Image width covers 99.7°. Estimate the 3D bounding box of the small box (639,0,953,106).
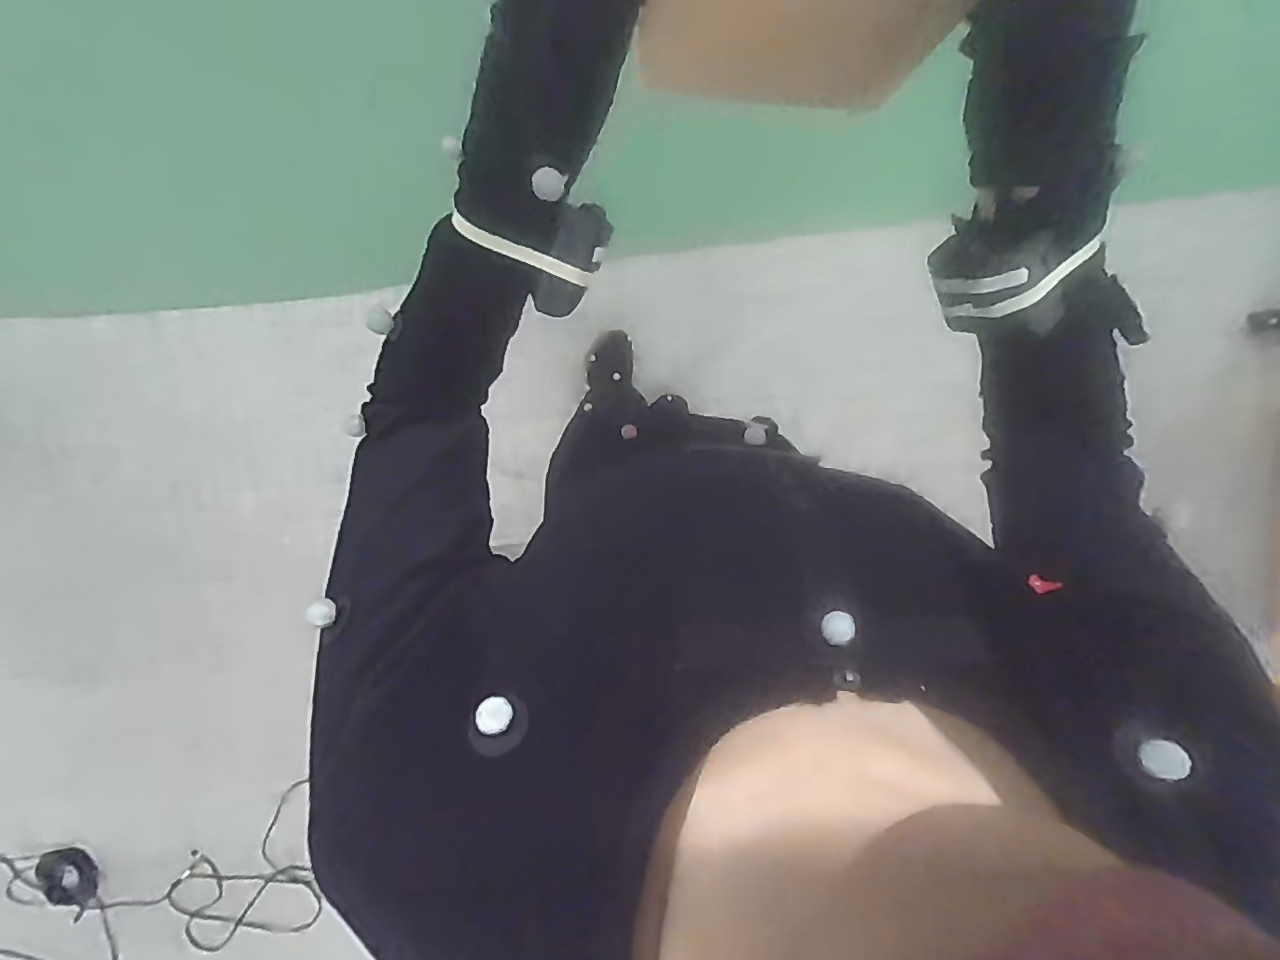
[{"bbox_3d":[0.091,-0.335,0.293,0.179,0.176,0.168,2,100,-3],"label":"small box"}]
